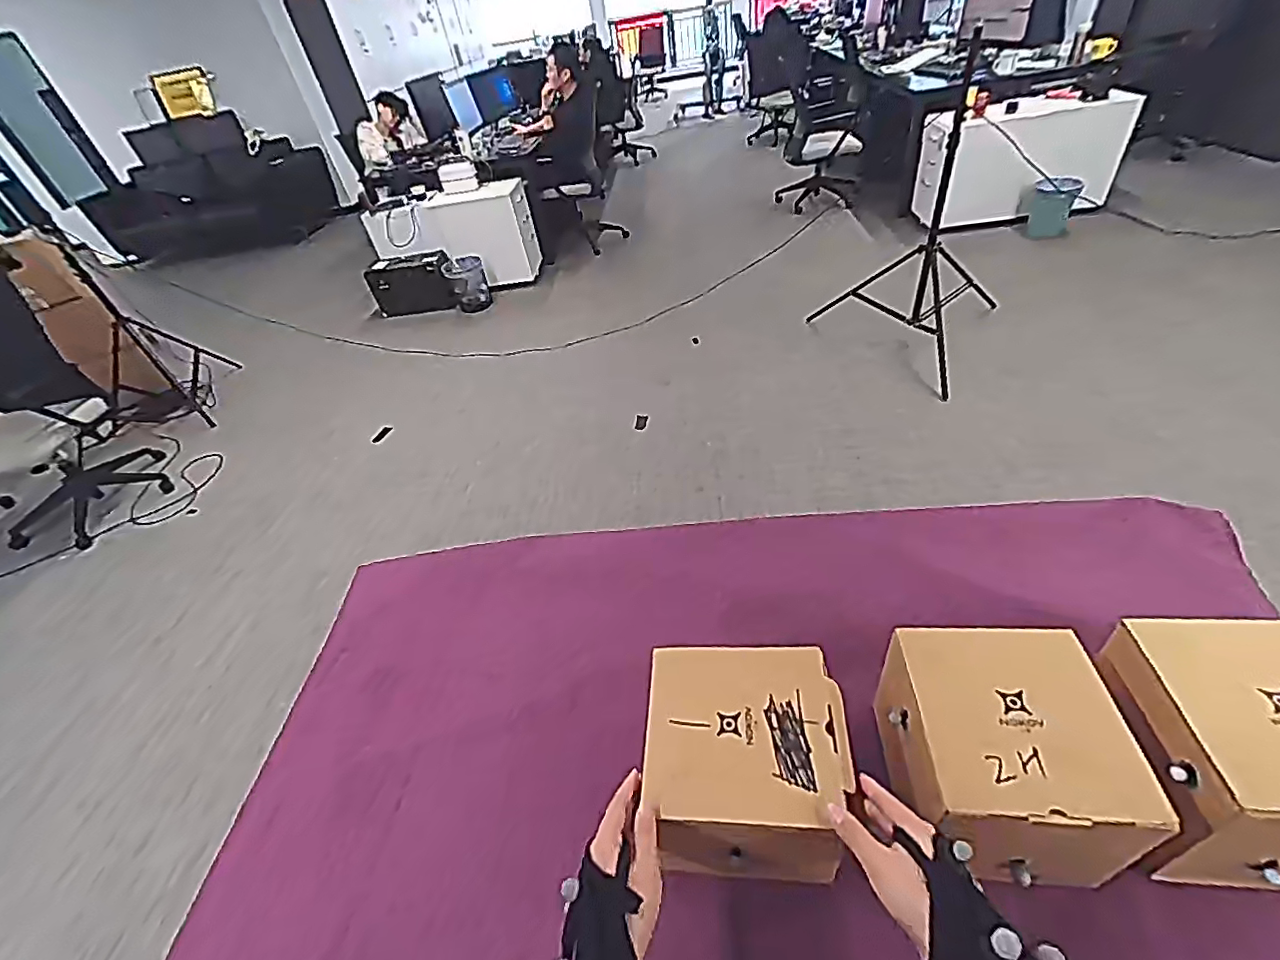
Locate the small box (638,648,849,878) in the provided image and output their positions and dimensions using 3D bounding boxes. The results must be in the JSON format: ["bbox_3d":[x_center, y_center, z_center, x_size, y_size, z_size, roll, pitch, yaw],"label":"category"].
[{"bbox_3d":[0.104,0.292,0.560,0.179,0.176,0.168,-3,42,11],"label":"small box"}]

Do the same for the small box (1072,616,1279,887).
[{"bbox_3d":[0.553,0.248,0.502,0.168,0.176,0.179,-3,41,11],"label":"small box"}]
